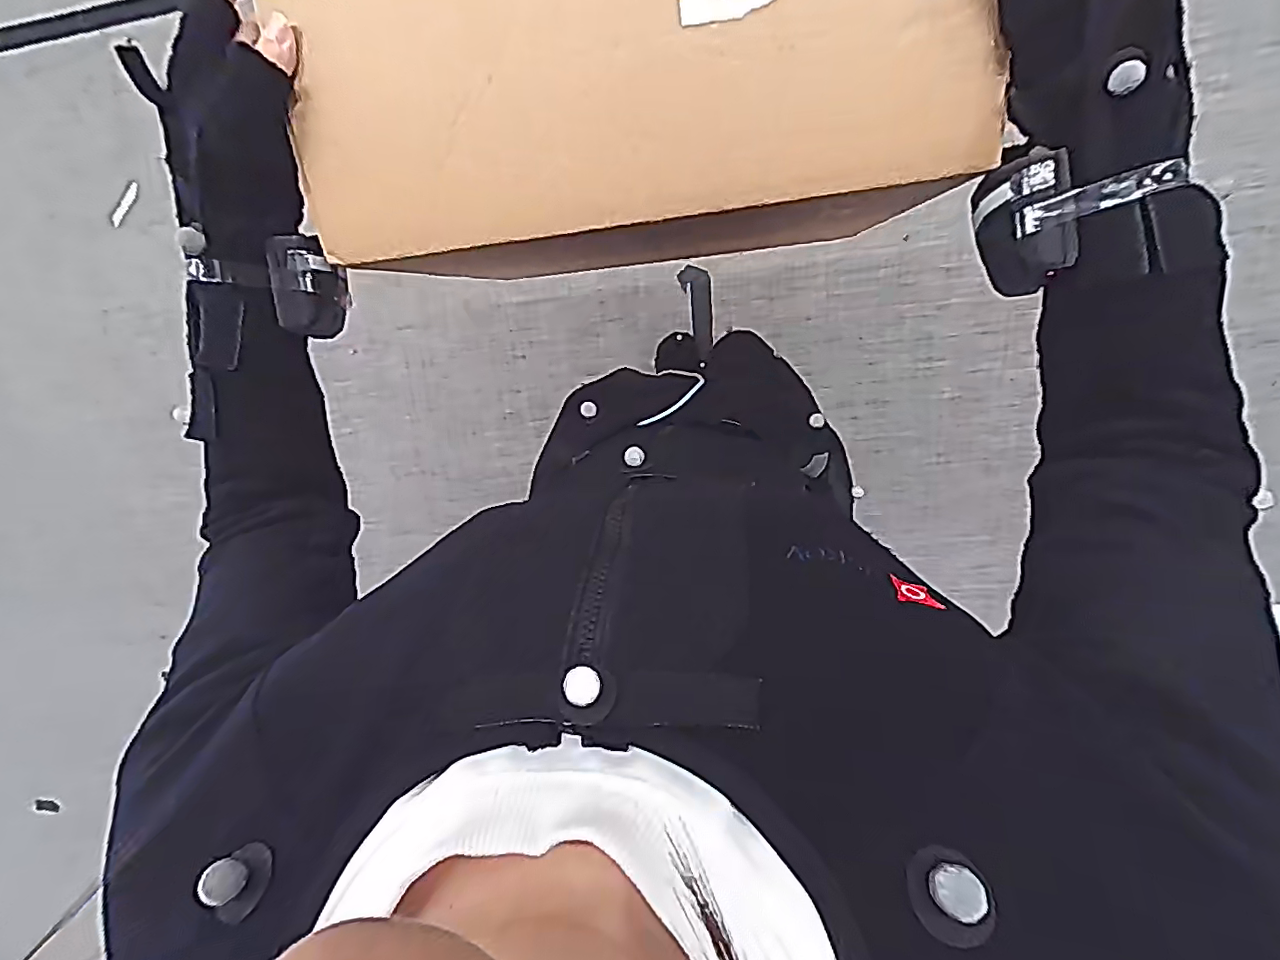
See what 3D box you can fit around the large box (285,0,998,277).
[{"bbox_3d":[-0.001,-0.358,0.429,0.408,0.320,0.320,-5,108,8],"label":"large box"}]
